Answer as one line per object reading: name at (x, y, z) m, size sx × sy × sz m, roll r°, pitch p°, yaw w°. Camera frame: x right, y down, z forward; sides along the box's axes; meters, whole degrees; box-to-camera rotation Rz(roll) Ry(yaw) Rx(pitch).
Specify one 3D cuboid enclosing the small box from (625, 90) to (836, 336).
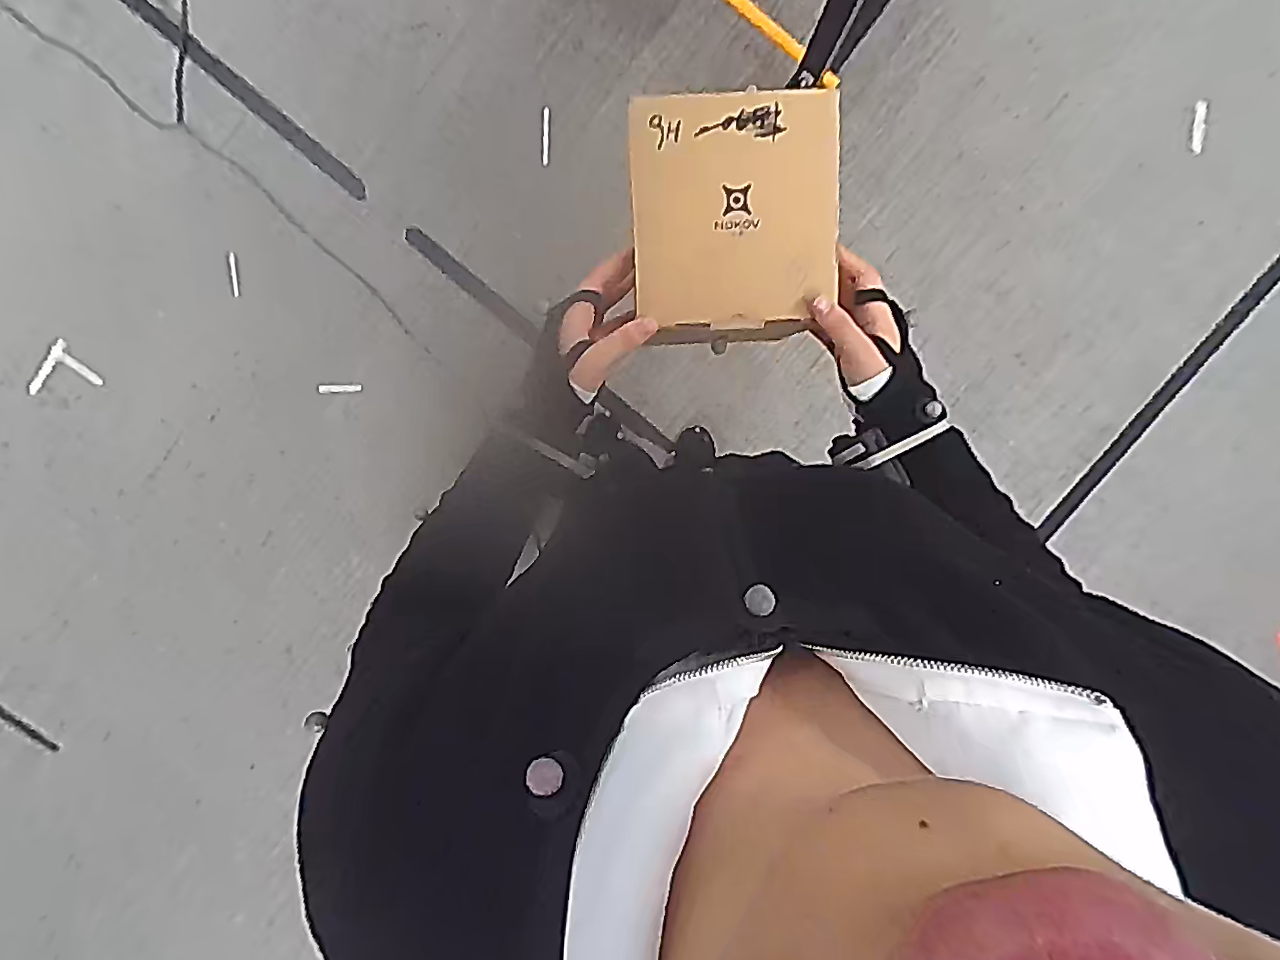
small box at (0.073, -0.231, 0.515) m, size 0.168 × 0.176 × 0.179 m, roll -3°, pitch 101°, yaw -1°

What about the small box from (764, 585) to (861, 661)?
small box at (0.456, 0.416, 1.465) m, size 0.168 × 0.176 × 0.179 m, roll 38°, pitch 96°, yaw -4°

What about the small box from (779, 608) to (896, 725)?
small box at (0.466, 0.439, 1.304) m, size 0.179 × 0.176 × 0.168 m, roll 40°, pitch 95°, yaw -3°
